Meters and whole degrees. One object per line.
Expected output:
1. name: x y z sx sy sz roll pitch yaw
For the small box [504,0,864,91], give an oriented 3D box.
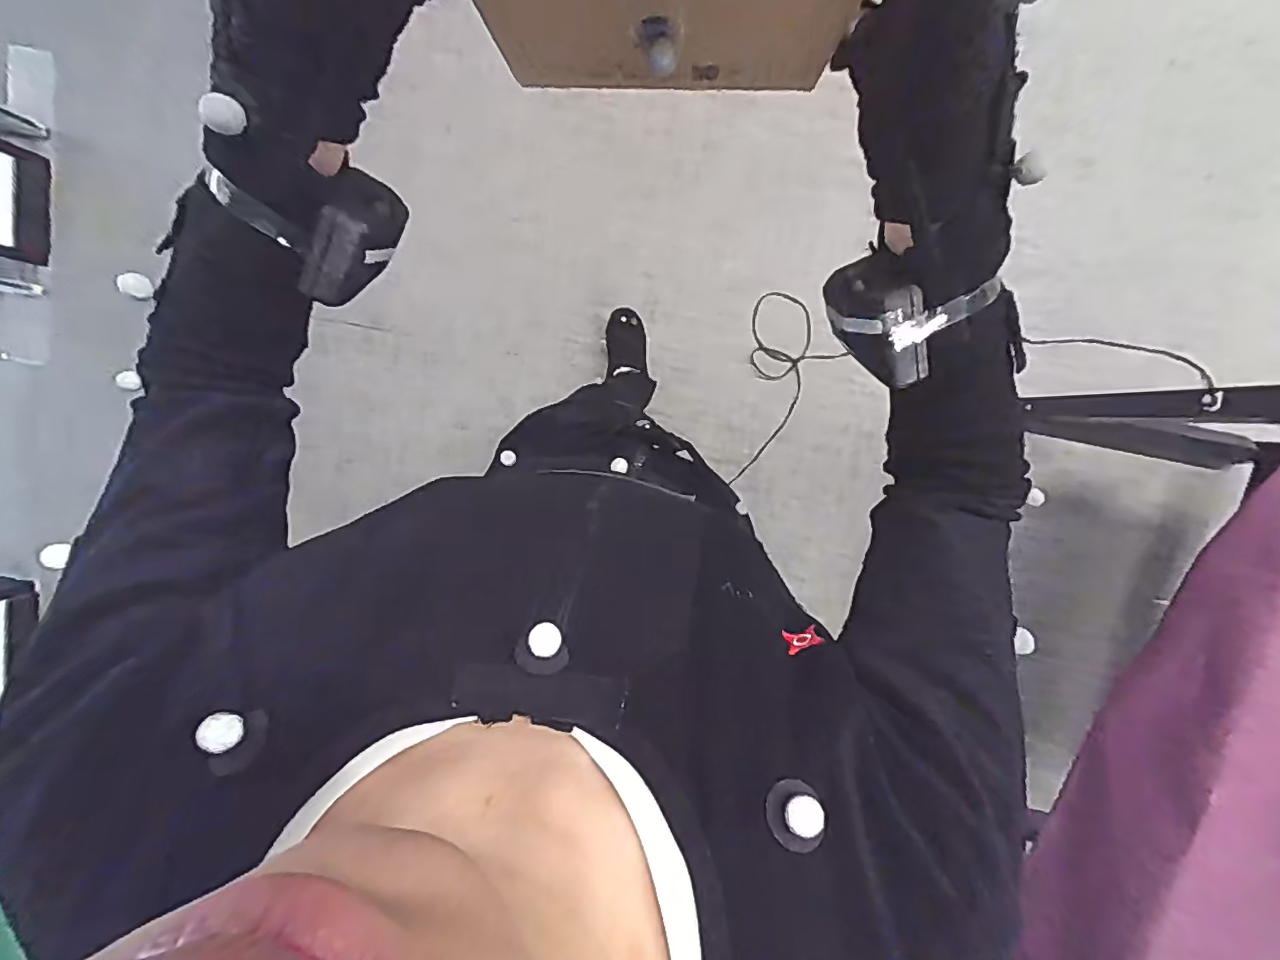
1. small box: 0.017 -0.284 0.200 0.168 0.176 0.179 3 104 3
